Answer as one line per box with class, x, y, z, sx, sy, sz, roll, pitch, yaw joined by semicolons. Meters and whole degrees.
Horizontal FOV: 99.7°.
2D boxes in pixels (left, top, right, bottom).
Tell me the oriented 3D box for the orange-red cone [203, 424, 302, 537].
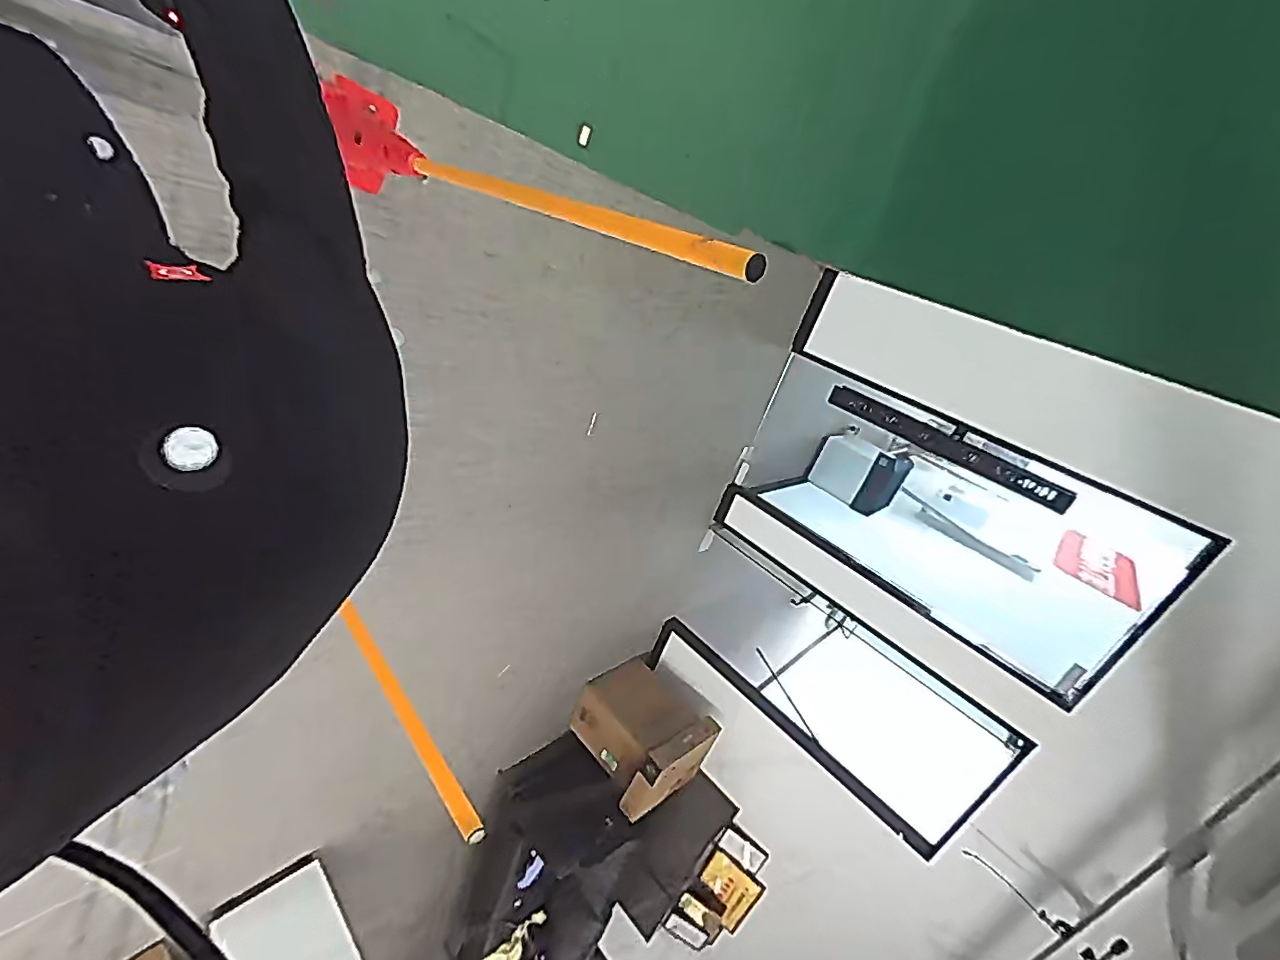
orange-red cone;-0.906;0.027;1.321;0.199;0.360;0.198;-7;125;-48
